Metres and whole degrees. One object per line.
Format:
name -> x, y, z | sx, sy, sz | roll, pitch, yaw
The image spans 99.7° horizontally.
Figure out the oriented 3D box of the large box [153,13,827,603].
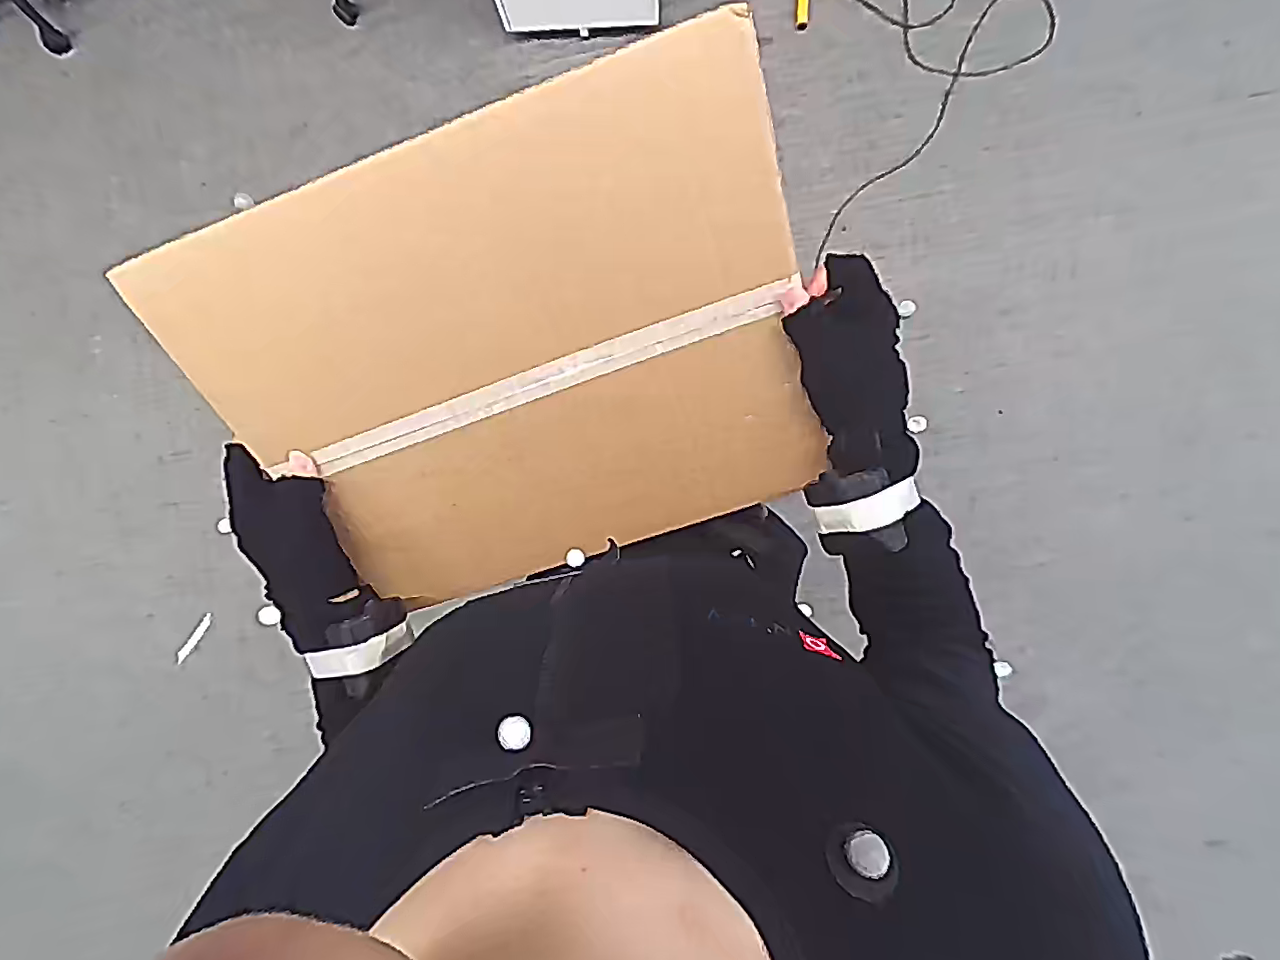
large box -> -0.091, -0.145, 0.522 | 0.408, 0.320, 0.320 | -18, 121, 7
